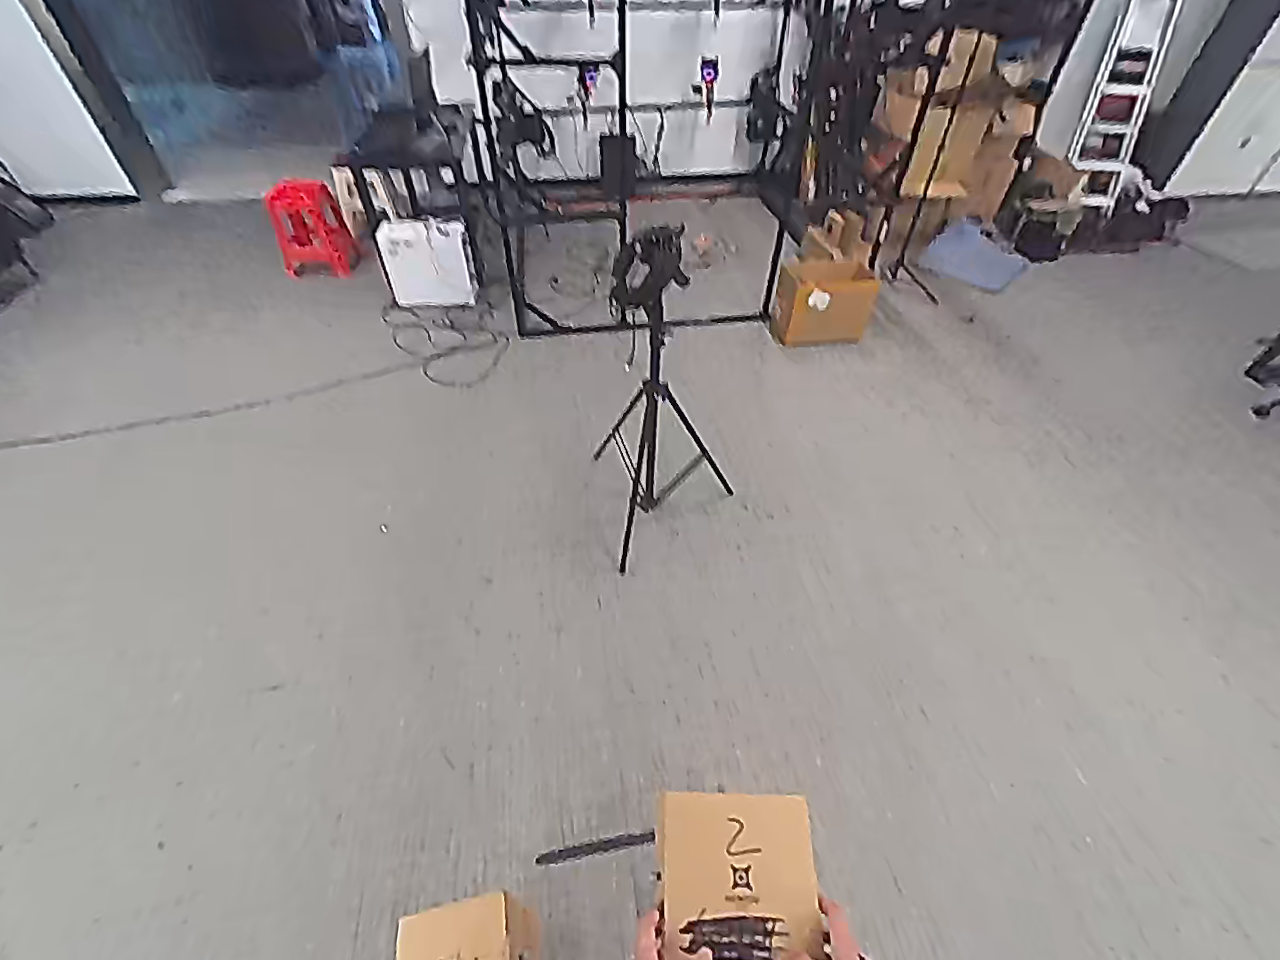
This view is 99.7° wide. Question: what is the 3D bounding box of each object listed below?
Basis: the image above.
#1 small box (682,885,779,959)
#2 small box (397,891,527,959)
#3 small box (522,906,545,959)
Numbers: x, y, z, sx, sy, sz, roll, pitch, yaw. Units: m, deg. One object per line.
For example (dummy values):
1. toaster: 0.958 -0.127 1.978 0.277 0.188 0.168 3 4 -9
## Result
1. small box: 0.190 1.005 1.170 0.179 0.176 0.168 -5 46 -7
2. small box: -0.287 0.813 0.893 0.179 0.176 0.168 -9 46 -8
3. small box: -0.272 0.927 1.011 0.168 0.176 0.179 -4 46 -3
